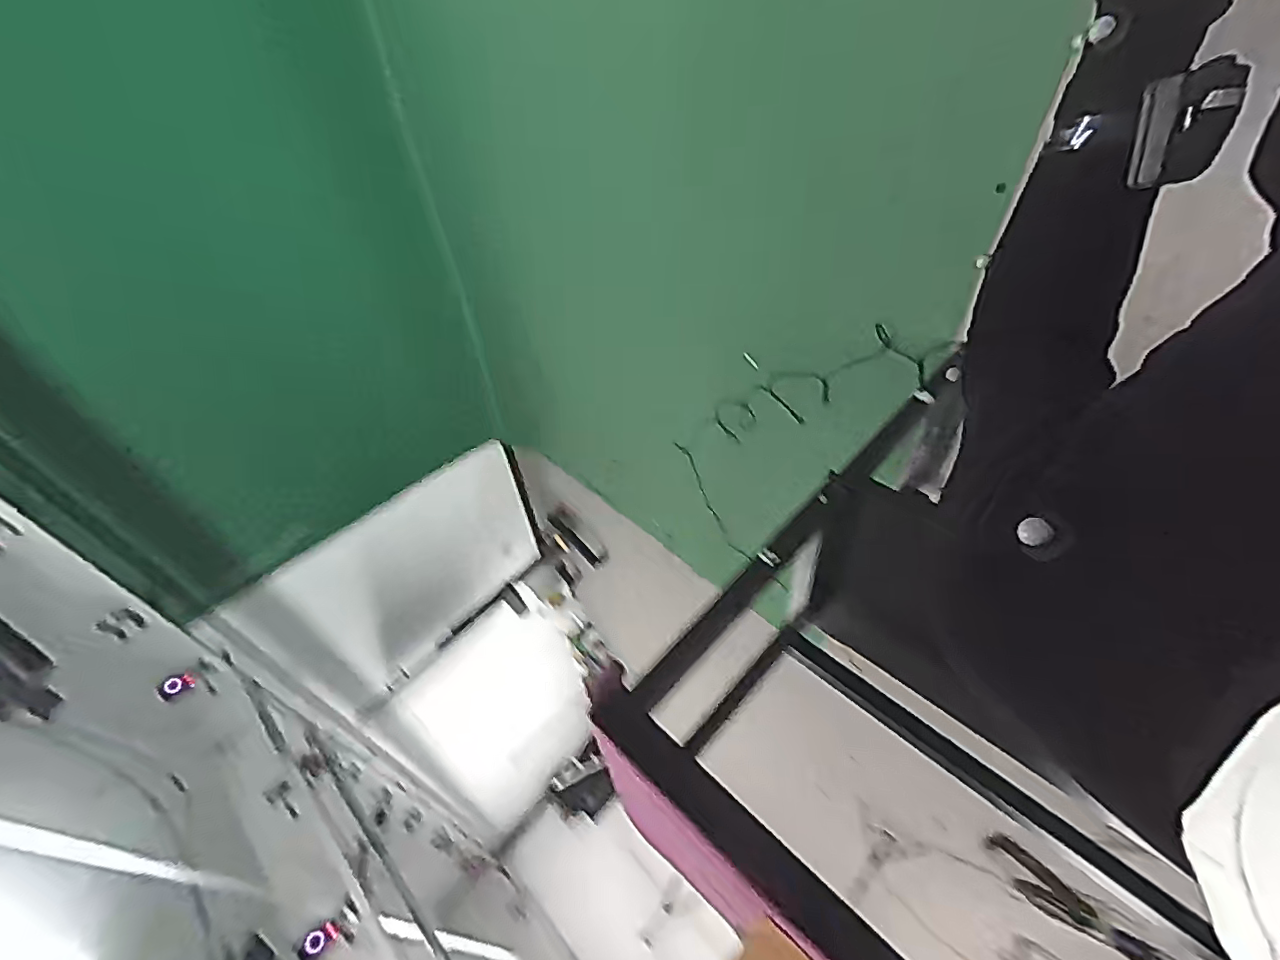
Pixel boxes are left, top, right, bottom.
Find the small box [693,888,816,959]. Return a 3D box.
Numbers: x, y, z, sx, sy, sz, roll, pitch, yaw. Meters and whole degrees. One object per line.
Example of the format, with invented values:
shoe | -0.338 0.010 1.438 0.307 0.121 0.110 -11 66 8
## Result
small box | 0.165 0.732 0.769 0.179 0.176 0.168 33 149 30
